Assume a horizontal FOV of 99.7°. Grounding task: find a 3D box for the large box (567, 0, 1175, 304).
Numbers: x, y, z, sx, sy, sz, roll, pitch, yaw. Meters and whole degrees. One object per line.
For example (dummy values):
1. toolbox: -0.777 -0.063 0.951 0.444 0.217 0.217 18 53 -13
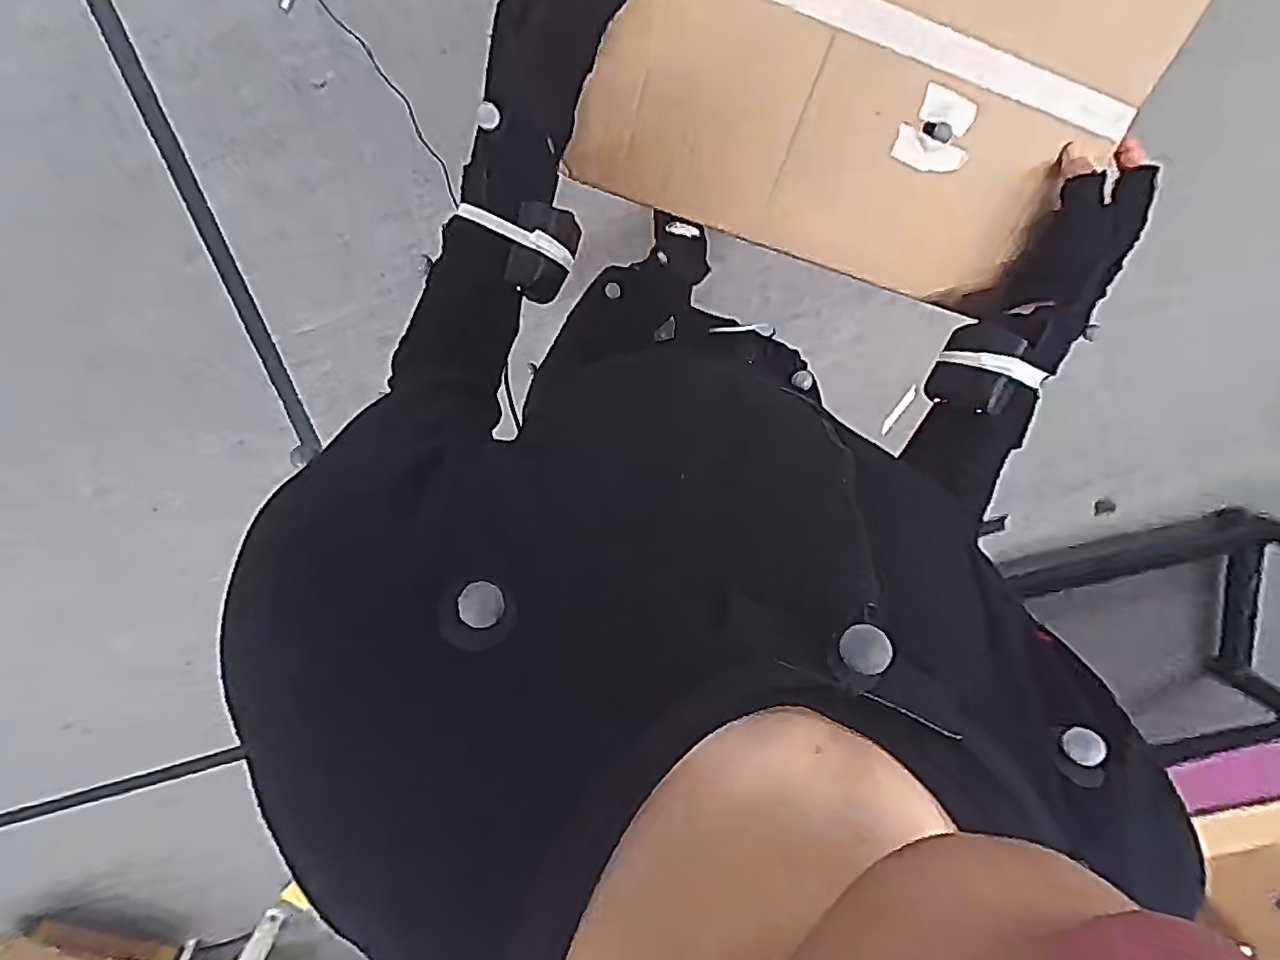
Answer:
1. large box: 0.167 -0.411 0.519 0.408 0.320 0.320 14 123 -10
